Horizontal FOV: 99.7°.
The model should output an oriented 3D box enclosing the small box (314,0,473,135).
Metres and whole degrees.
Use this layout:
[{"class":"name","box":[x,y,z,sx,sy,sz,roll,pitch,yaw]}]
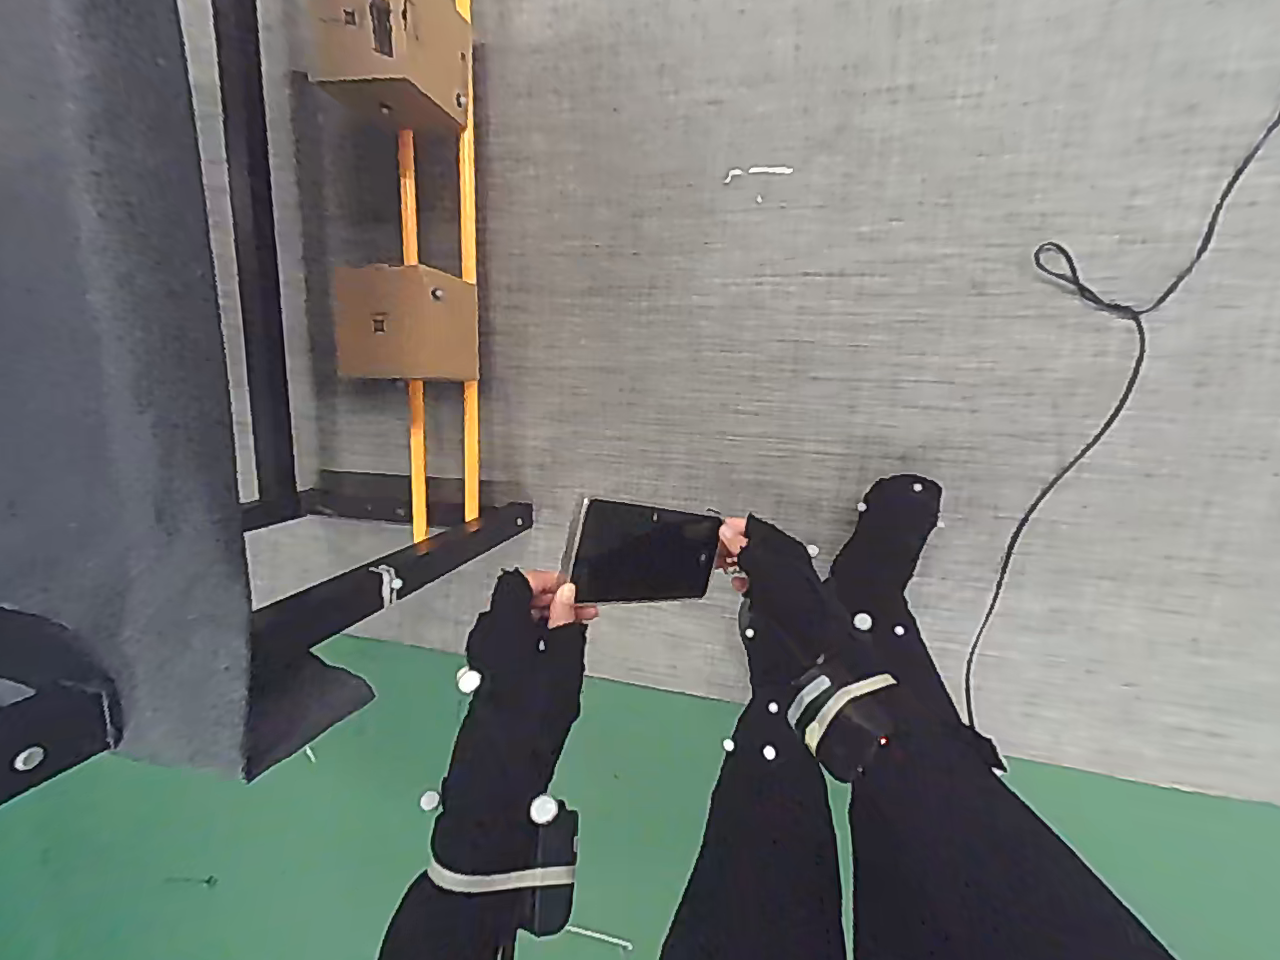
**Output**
[{"class":"small box","box":[-0.390,-0.686,0.877,0.179,0.176,0.168,8,100,14]}]
